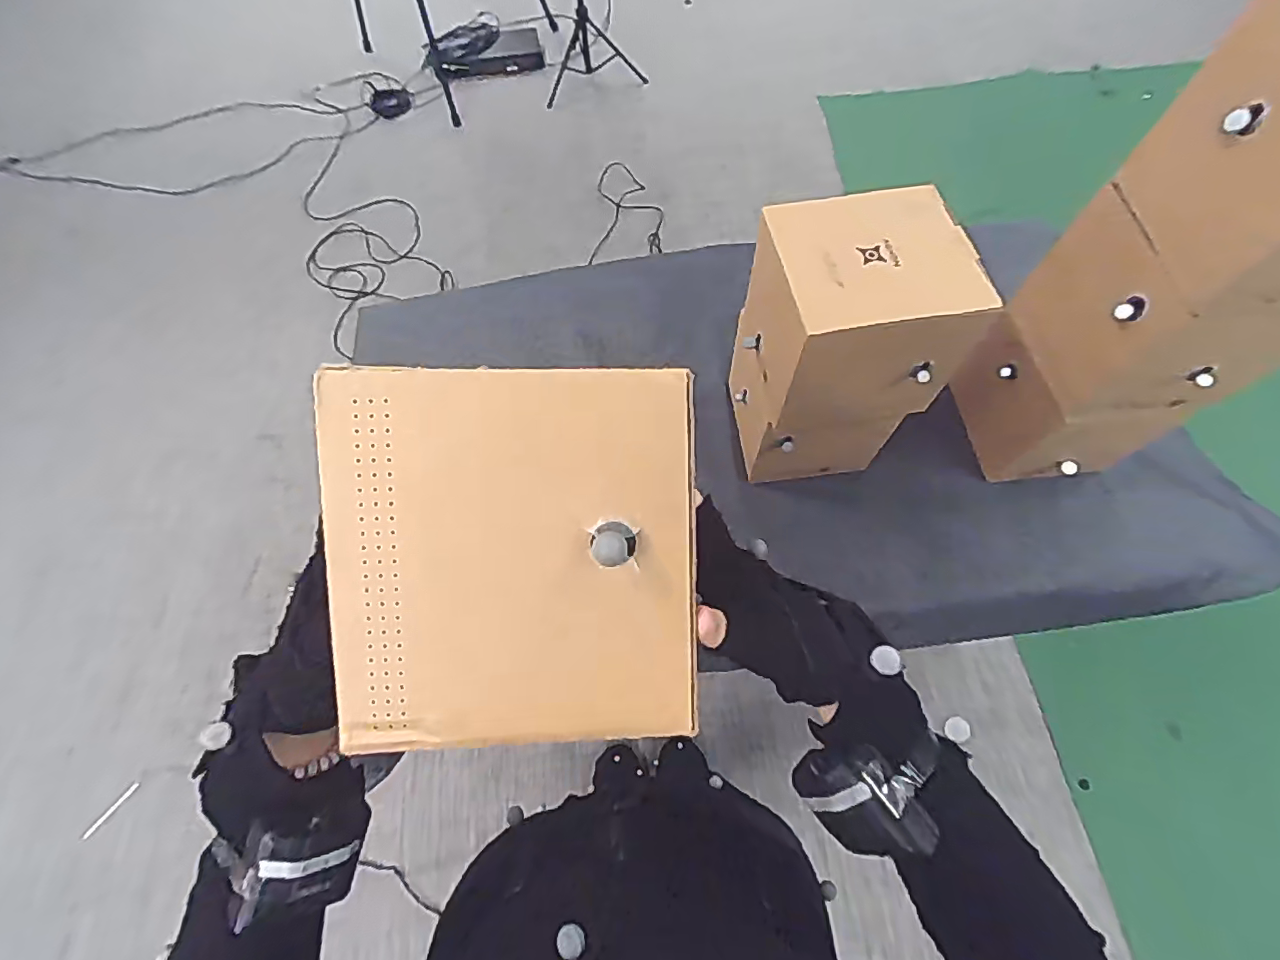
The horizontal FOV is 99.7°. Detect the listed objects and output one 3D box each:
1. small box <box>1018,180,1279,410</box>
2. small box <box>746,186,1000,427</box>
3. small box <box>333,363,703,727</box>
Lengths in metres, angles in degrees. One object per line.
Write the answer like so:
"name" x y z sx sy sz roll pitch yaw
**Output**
"small box" 0.544 -0.184 0.561 0.168 0.176 0.179 -4 65 1
"small box" 0.224 -0.174 0.575 0.179 0.176 0.168 -8 64 -1
"small box" -0.060 0.028 0.328 0.176 0.168 0.179 -2 95 -4
